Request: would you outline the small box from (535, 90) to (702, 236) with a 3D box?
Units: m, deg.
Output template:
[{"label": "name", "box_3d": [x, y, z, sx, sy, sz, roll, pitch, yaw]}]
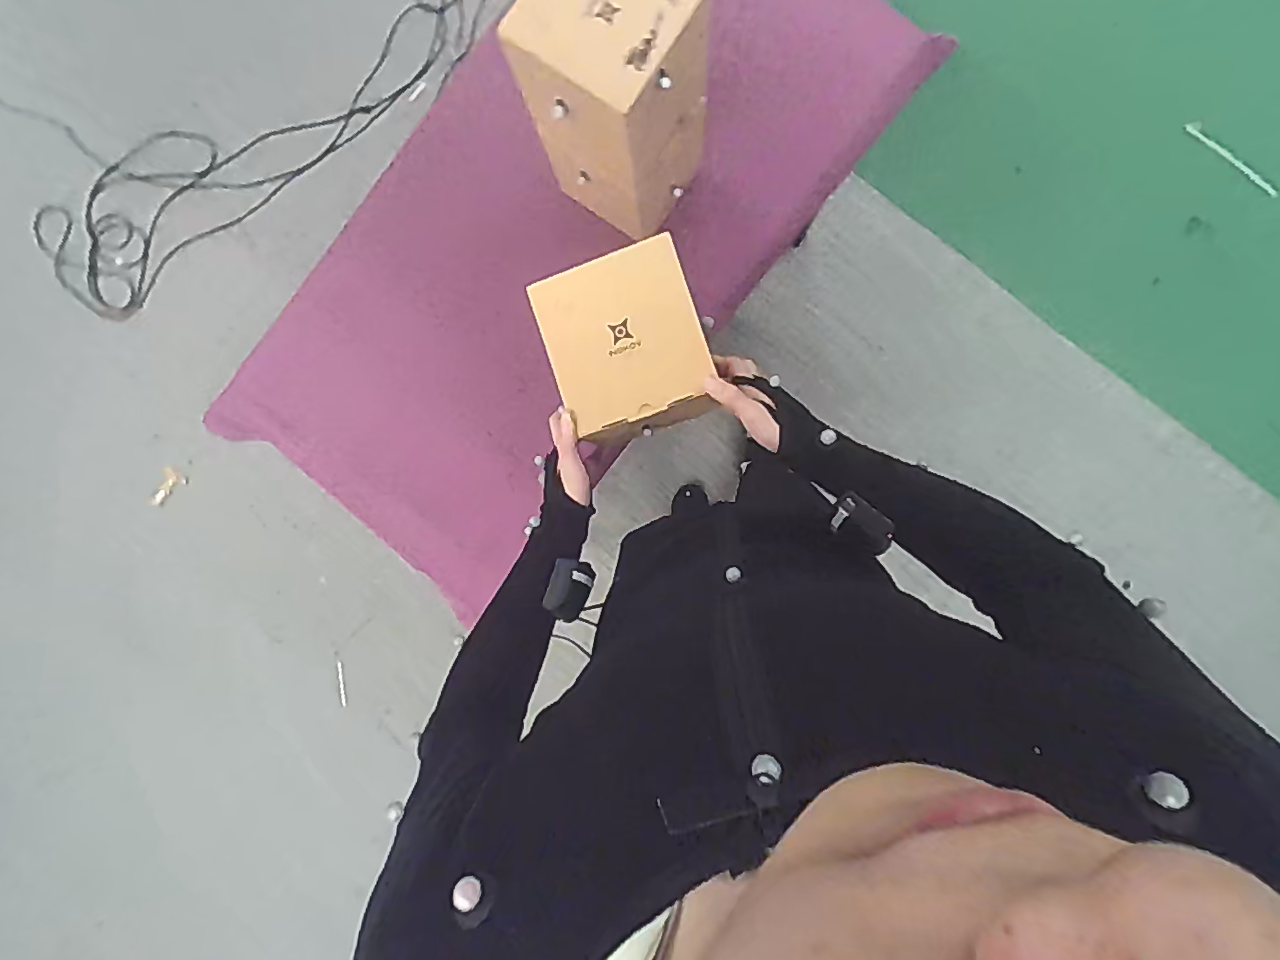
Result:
[{"label": "small box", "box_3d": [-0.026, -0.508, 0.817, 0.179, 0.176, 0.168, 35, 93, 3]}]

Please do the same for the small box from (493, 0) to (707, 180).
[{"label": "small box", "box_3d": [-0.038, -0.508, 0.653, 0.179, 0.176, 0.168, 35, 93, 4]}]
